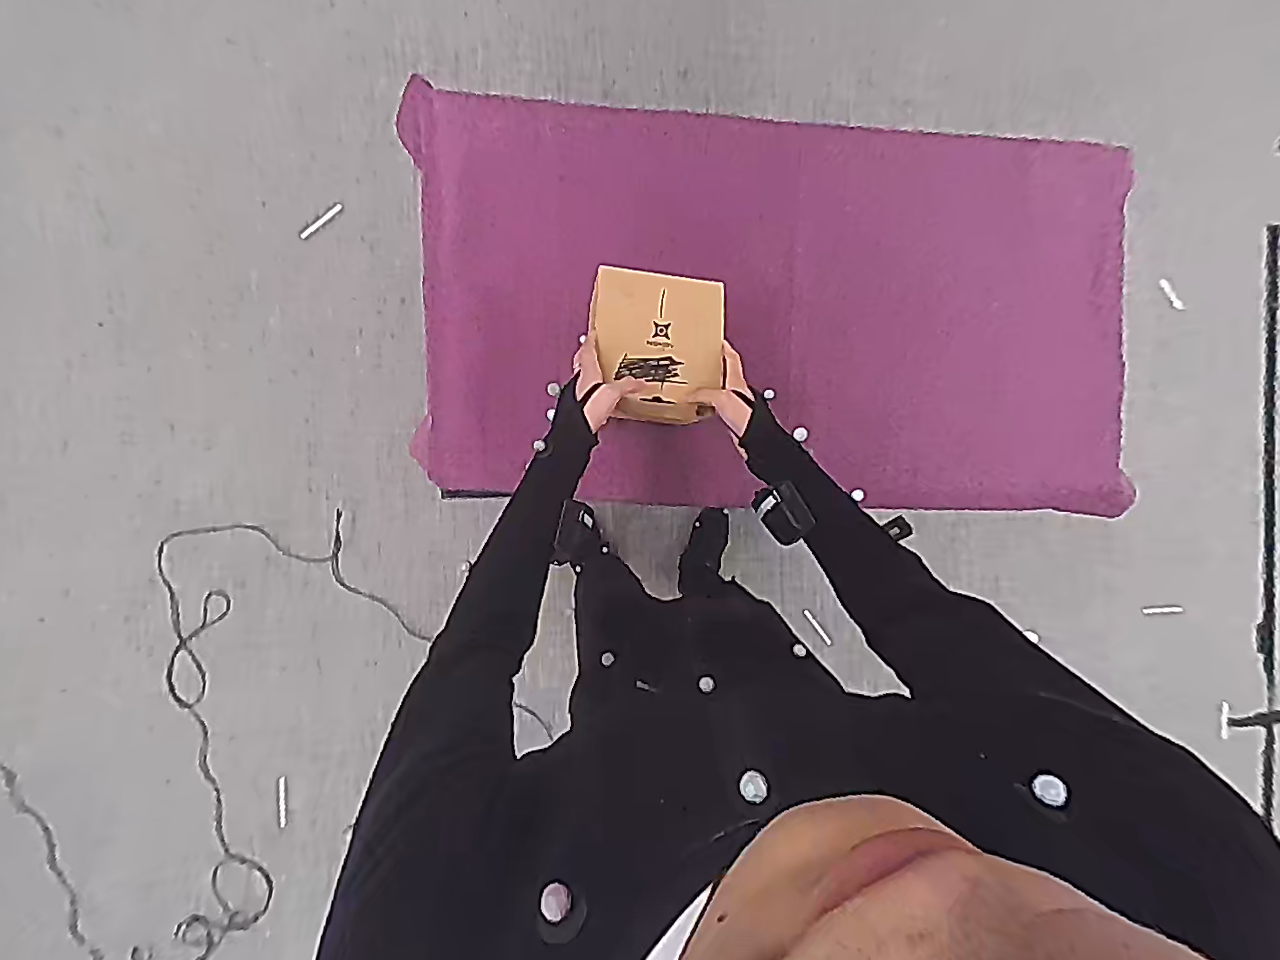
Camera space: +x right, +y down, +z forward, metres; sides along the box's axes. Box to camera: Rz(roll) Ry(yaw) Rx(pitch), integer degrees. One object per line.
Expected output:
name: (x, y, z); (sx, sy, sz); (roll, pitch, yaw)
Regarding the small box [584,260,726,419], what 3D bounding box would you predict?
small box: (0.011, -0.184, 0.766); (0.168, 0.176, 0.179); (5, 91, -9)
